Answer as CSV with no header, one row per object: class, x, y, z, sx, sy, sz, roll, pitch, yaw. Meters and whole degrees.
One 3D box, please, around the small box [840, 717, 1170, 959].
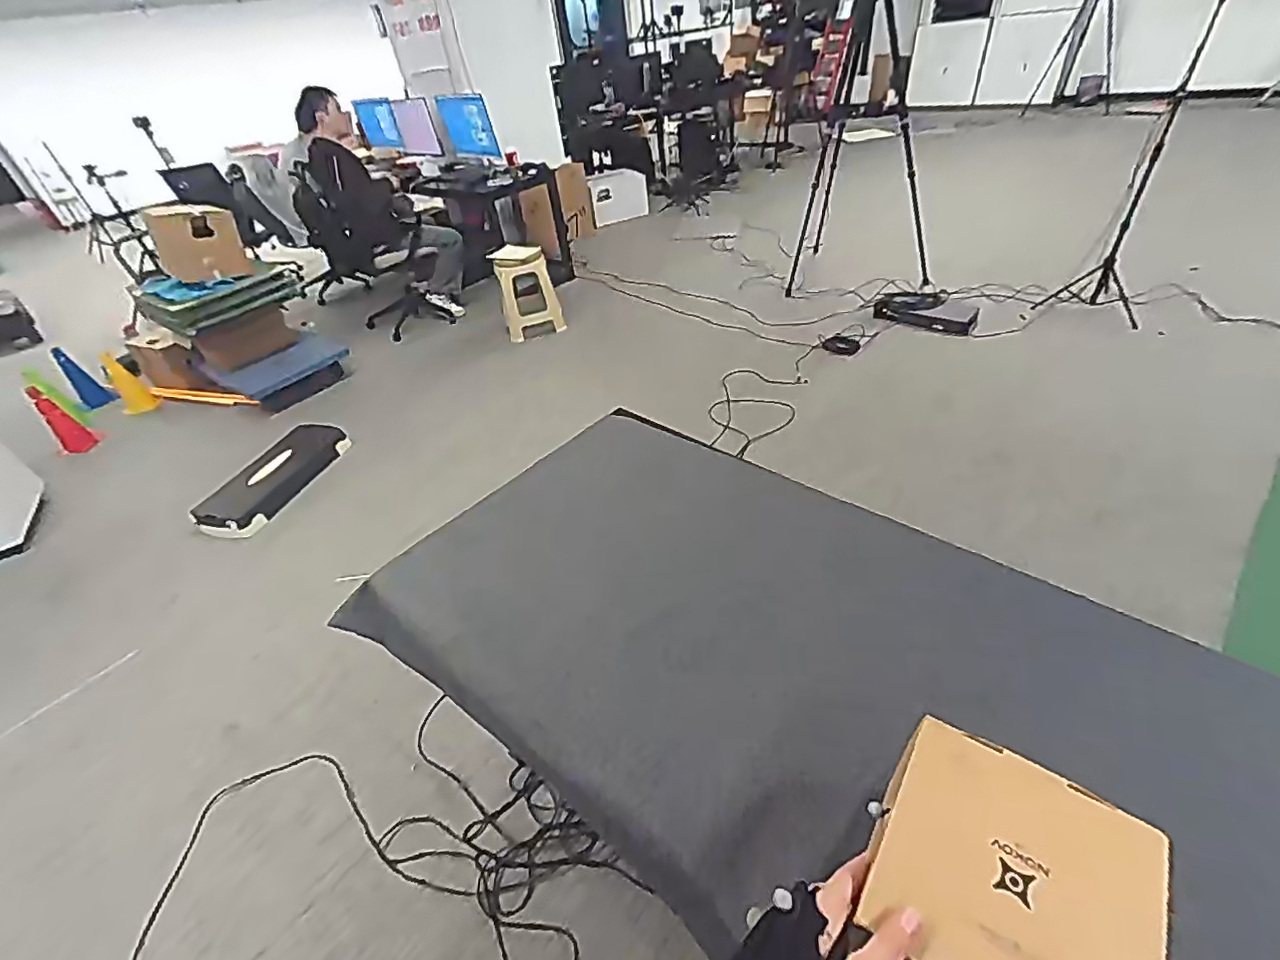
small box,0.274,0.338,0.432,0.168,0.176,0.179,21,49,30
